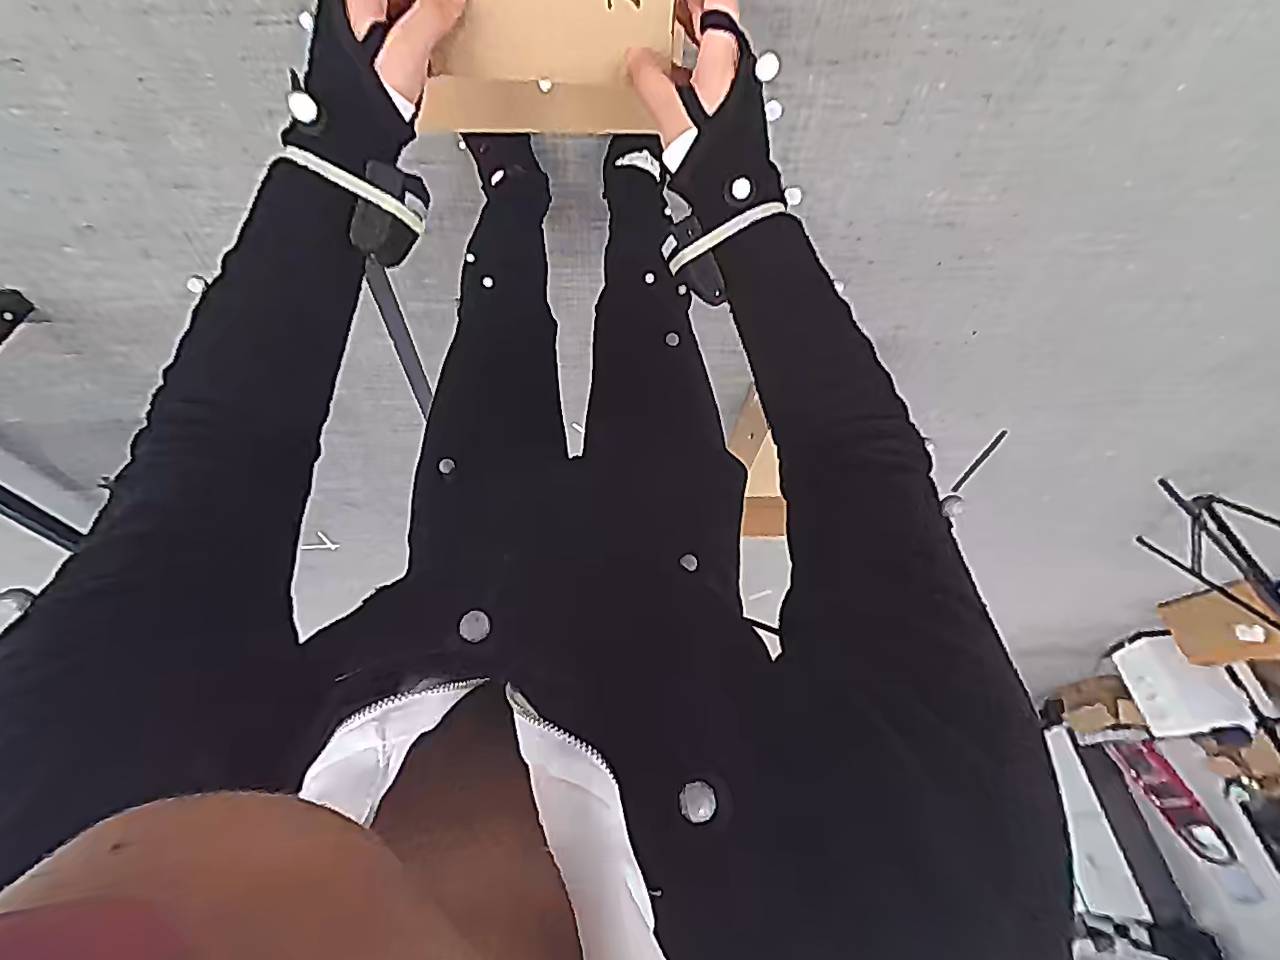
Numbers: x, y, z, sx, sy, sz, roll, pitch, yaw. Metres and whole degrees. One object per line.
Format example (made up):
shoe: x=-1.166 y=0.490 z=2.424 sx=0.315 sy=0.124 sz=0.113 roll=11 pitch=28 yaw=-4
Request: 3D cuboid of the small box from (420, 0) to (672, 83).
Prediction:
small box: x=-0.061 y=-0.416 z=0.392 sx=0.179 sy=0.176 sz=0.168 roll=2 pitch=140 yaw=-3
